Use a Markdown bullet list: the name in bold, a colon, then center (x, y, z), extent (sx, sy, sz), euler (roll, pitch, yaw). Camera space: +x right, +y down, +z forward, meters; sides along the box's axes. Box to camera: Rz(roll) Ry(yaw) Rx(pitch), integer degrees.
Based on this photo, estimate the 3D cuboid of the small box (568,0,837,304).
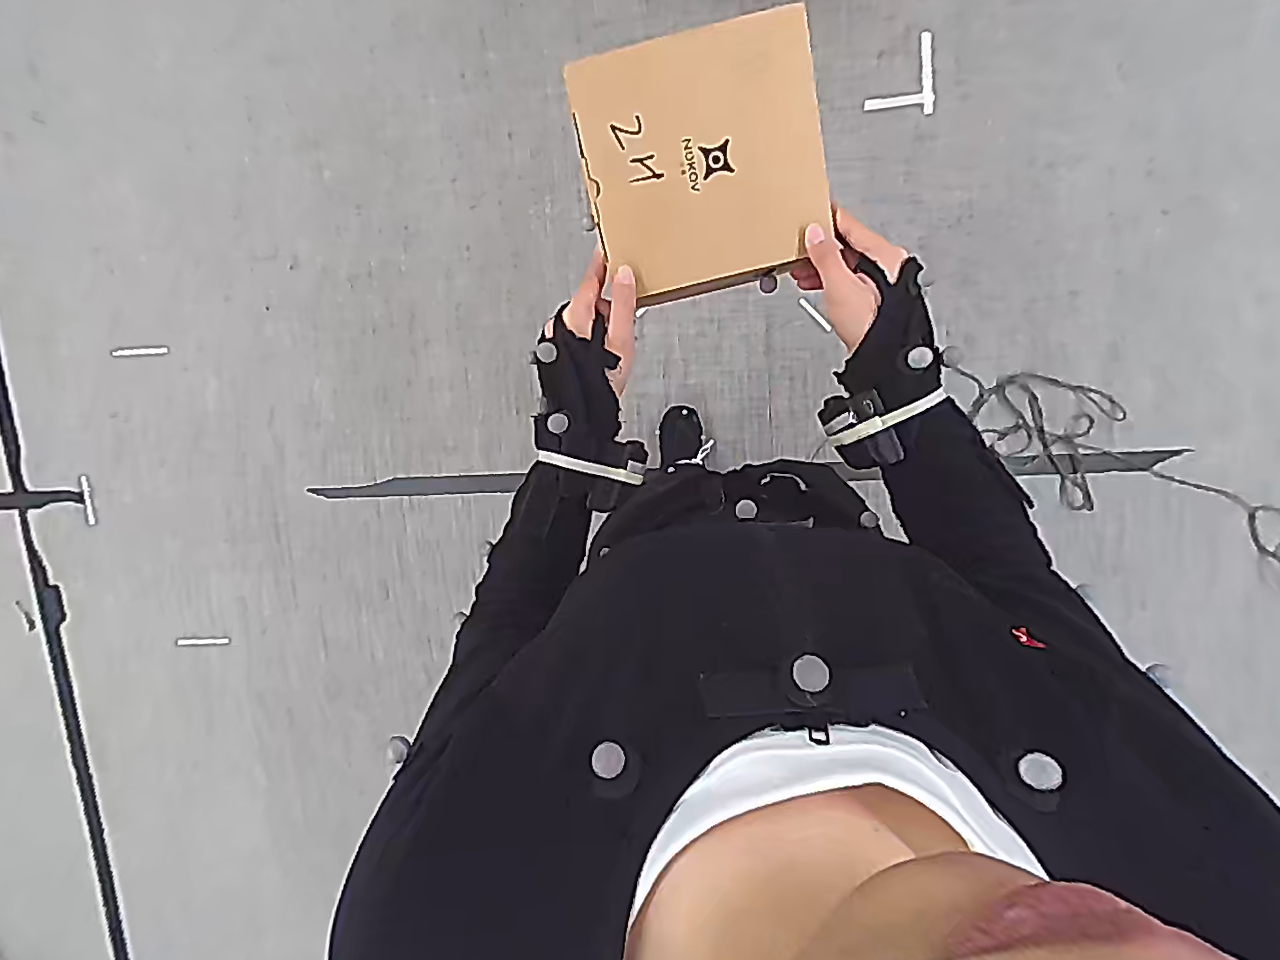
- **small box**: center (0.048, -0.257, 0.469), extent (0.179, 0.176, 0.168), euler (-12, 104, 3)
